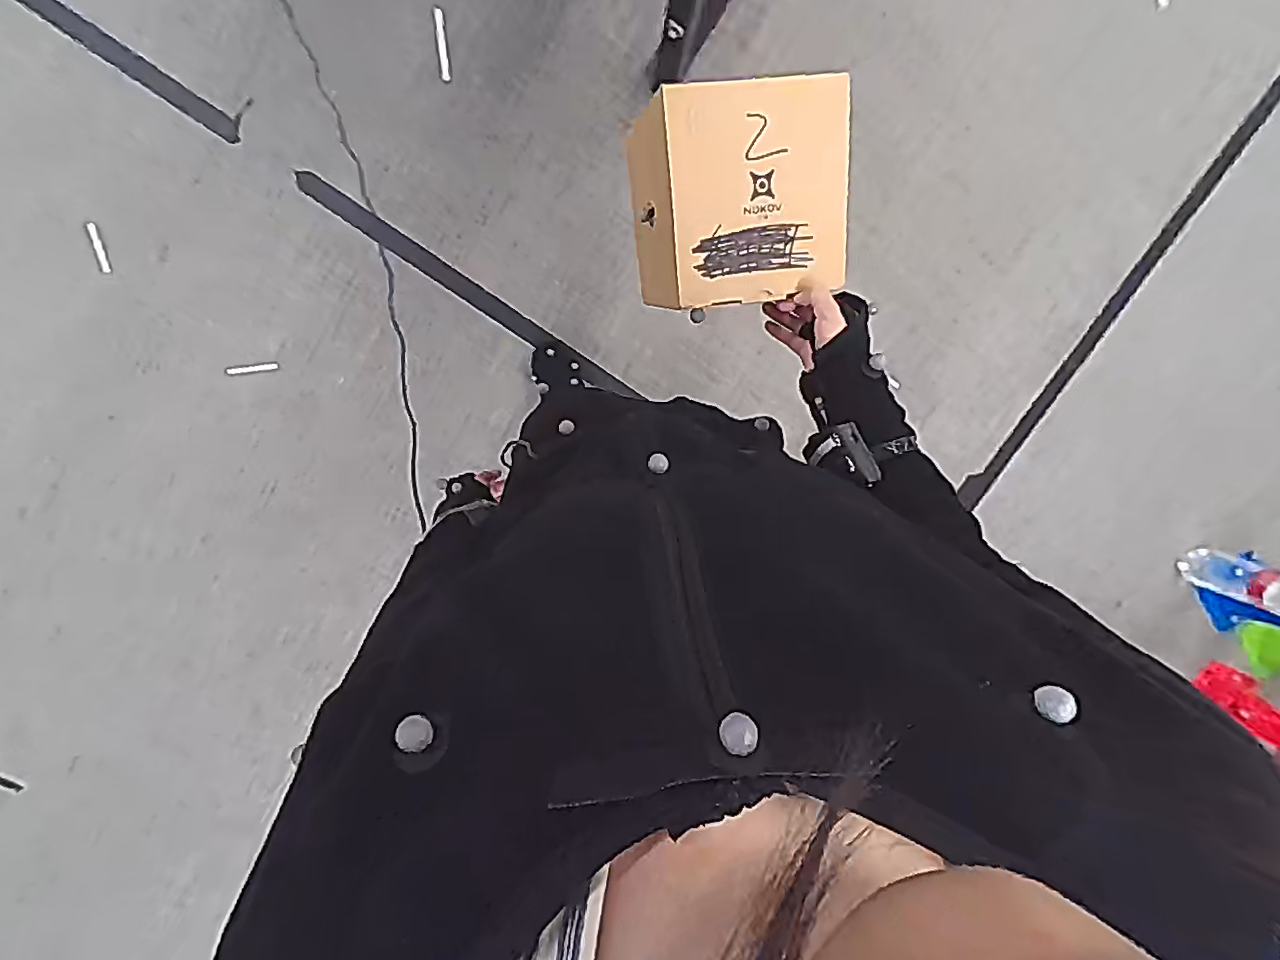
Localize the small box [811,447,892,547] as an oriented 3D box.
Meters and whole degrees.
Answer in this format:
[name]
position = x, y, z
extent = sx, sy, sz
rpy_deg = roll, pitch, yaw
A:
[small box]
position = 0.574, 0.036, 1.390
extent = 0.168, 0.176, 0.179
rpy_deg = 38, 98, -11
